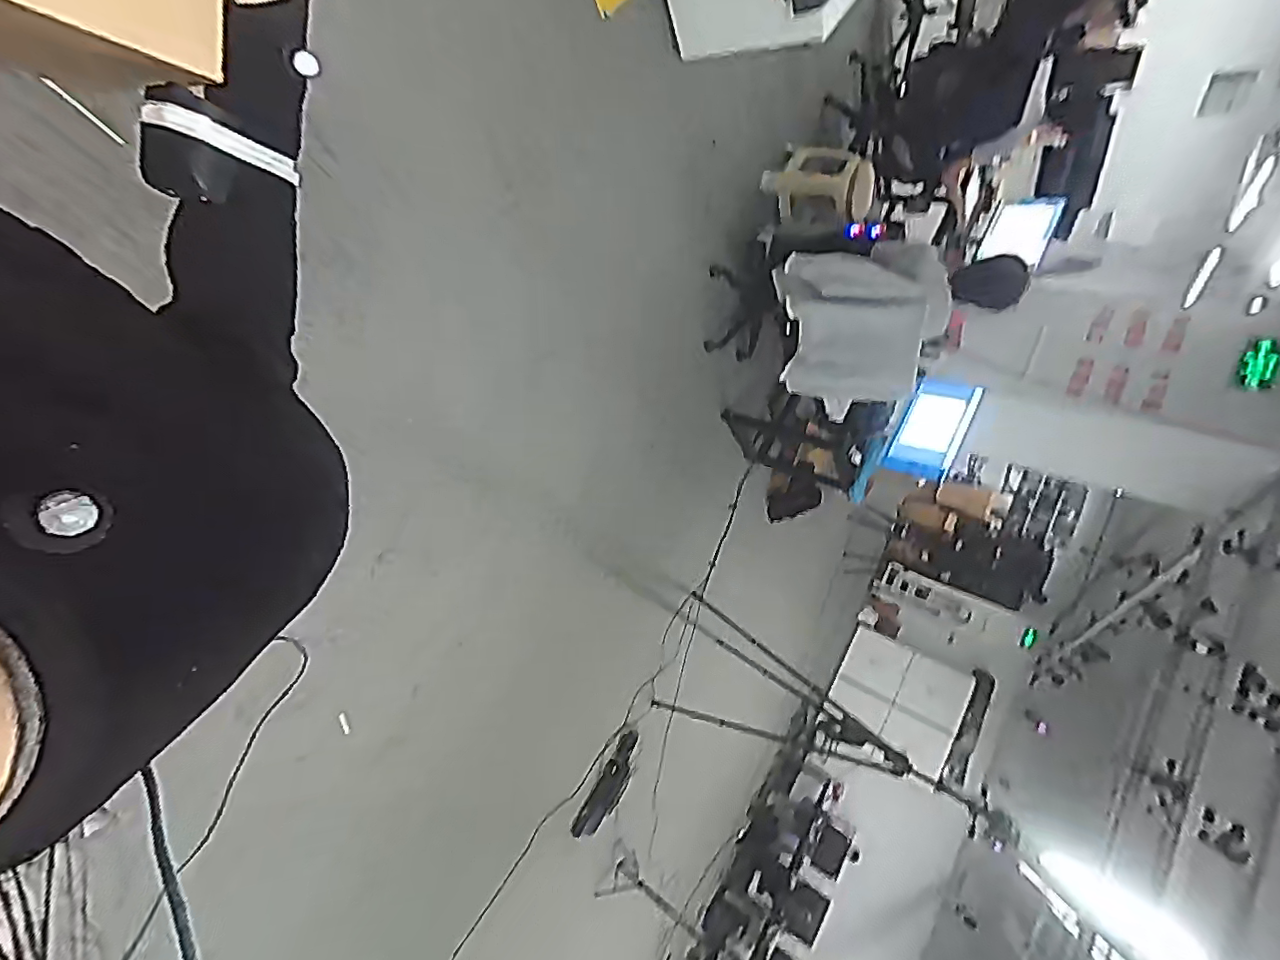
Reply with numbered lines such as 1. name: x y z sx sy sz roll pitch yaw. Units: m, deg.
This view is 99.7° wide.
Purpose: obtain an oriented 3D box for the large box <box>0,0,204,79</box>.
1. large box: -0.493 -0.439 0.240 0.408 0.320 0.320 -11 119 -52
